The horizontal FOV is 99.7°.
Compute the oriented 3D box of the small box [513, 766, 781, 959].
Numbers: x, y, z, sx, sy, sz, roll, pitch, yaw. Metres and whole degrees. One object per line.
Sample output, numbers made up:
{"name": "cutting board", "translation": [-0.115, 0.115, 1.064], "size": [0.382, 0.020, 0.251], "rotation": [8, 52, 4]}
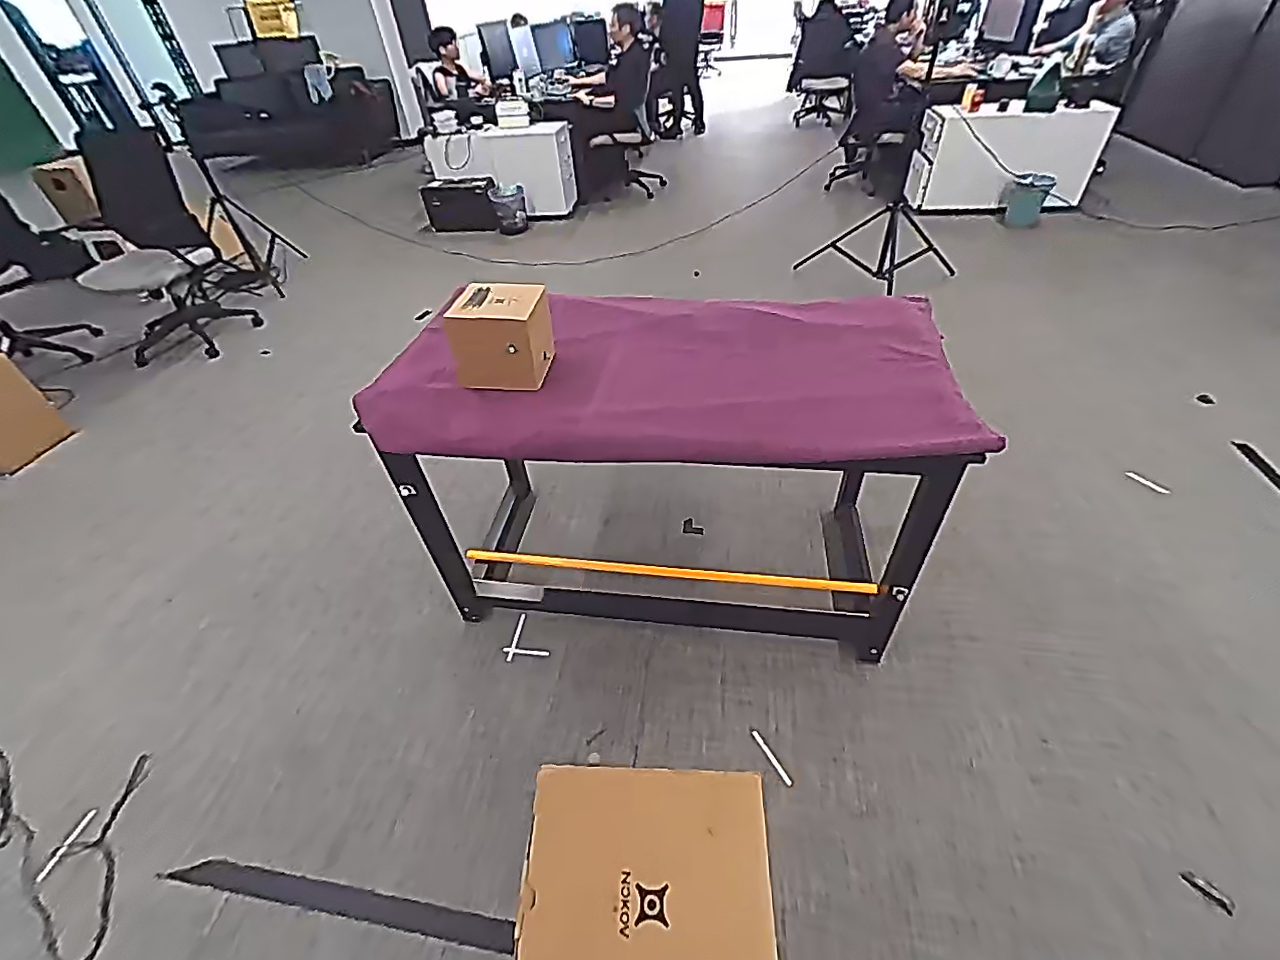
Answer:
{"name": "small box", "translation": [0.009, 0.335, 0.433], "size": [0.179, 0.176, 0.168], "rotation": [-2, 53, 5]}
